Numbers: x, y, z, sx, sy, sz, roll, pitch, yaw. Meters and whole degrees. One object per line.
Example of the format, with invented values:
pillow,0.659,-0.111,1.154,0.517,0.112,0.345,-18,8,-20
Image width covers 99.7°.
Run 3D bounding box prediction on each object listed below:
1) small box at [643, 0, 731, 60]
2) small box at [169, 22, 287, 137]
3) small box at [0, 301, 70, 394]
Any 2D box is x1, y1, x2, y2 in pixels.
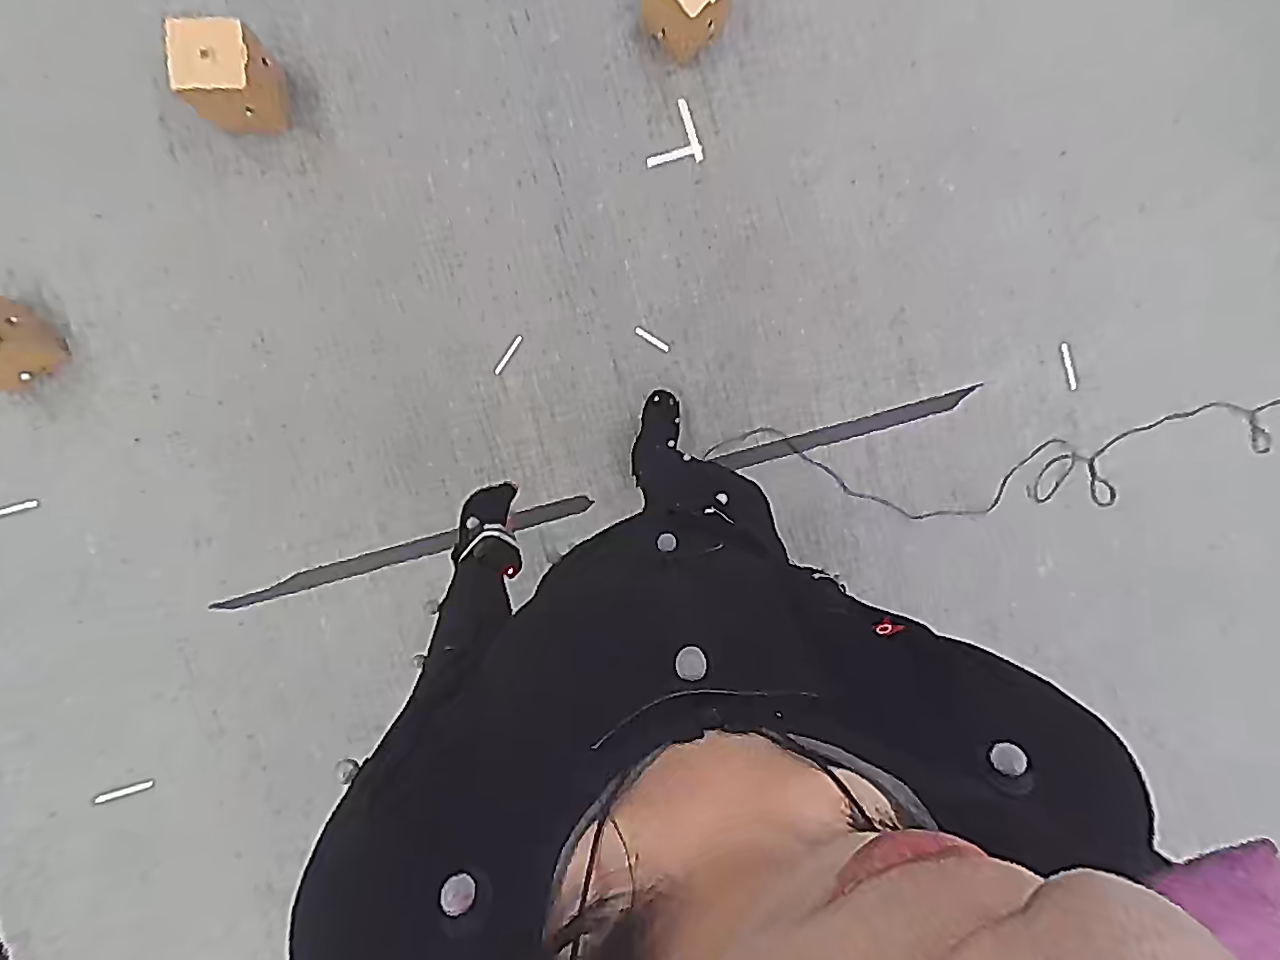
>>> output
small box,0.126,-1.242,1.397,0.168,0.176,0.179,-44,94,-1
small box,-1.006,-0.983,1.339,0.179,0.176,0.168,-4,90,-2
small box,-1.583,-0.329,1.315,0.168,0.176,0.179,-39,94,-2
